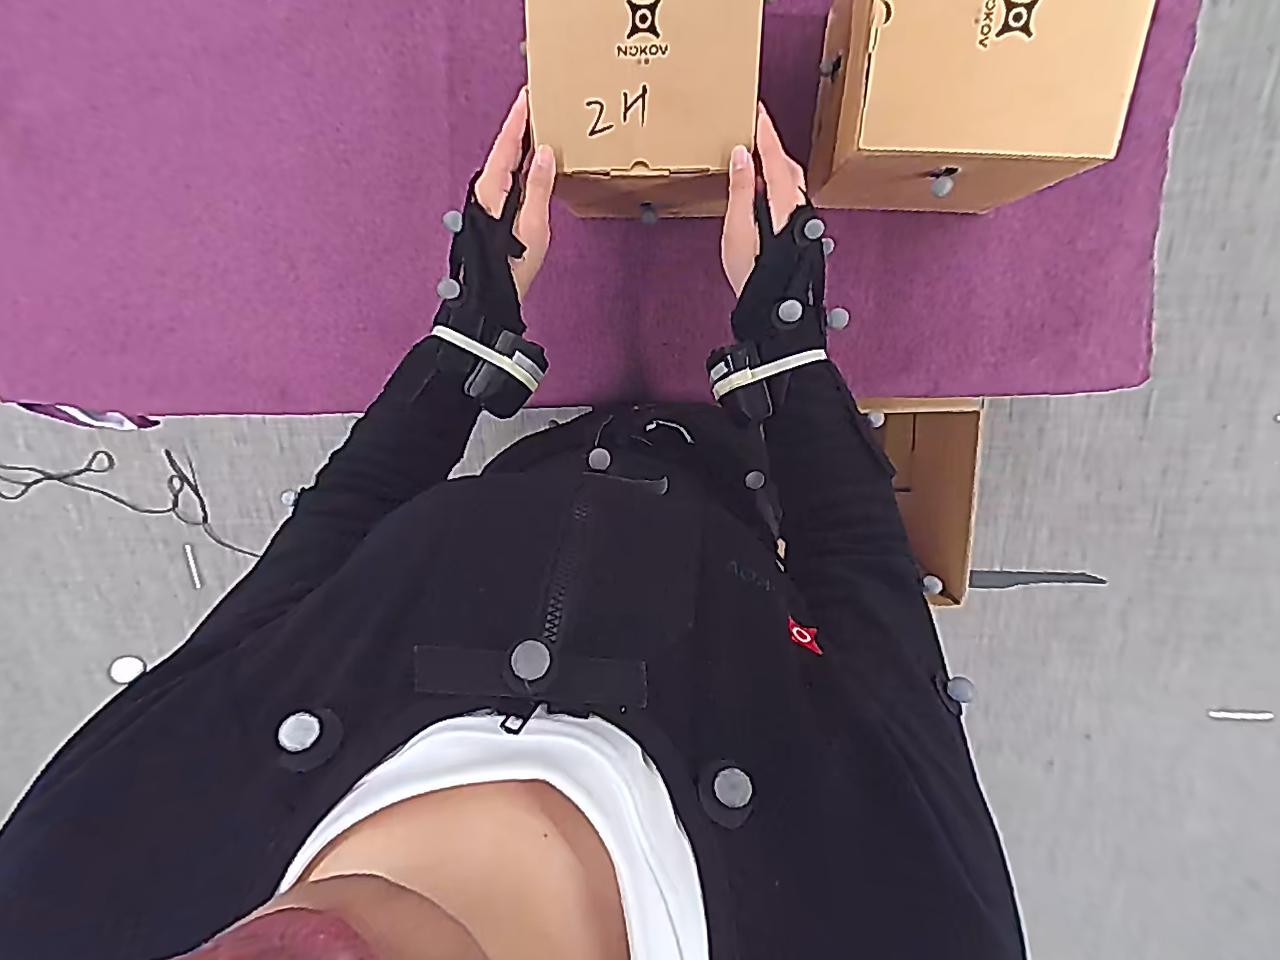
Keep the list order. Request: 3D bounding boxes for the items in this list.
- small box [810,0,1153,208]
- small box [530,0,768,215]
[{"bbox_3d":[0.252,-0.328,0.433,0.179,0.176,0.168,5,105,4],"label":"small box"},{"bbox_3d":[0.011,-0.335,0.450,0.168,0.176,0.179,3,106,5],"label":"small box"}]
